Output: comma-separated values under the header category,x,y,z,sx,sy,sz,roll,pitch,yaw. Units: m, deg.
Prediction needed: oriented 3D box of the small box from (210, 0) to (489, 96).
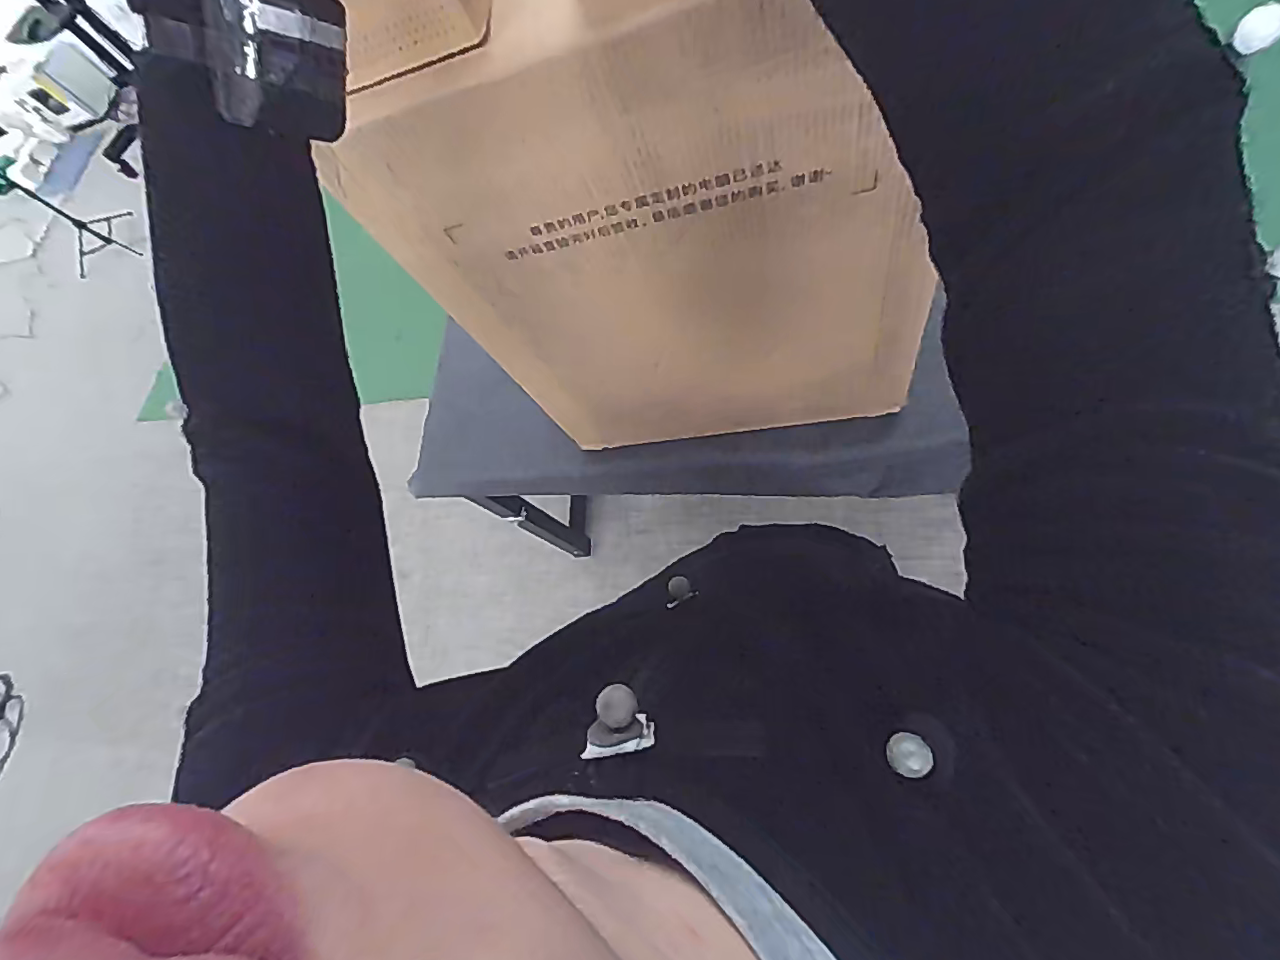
category,x,y,z,sx,sy,sz,roll,pitch,yaw
small box,-0.215,-0.405,0.360,0.179,0.176,0.168,-6,70,17
